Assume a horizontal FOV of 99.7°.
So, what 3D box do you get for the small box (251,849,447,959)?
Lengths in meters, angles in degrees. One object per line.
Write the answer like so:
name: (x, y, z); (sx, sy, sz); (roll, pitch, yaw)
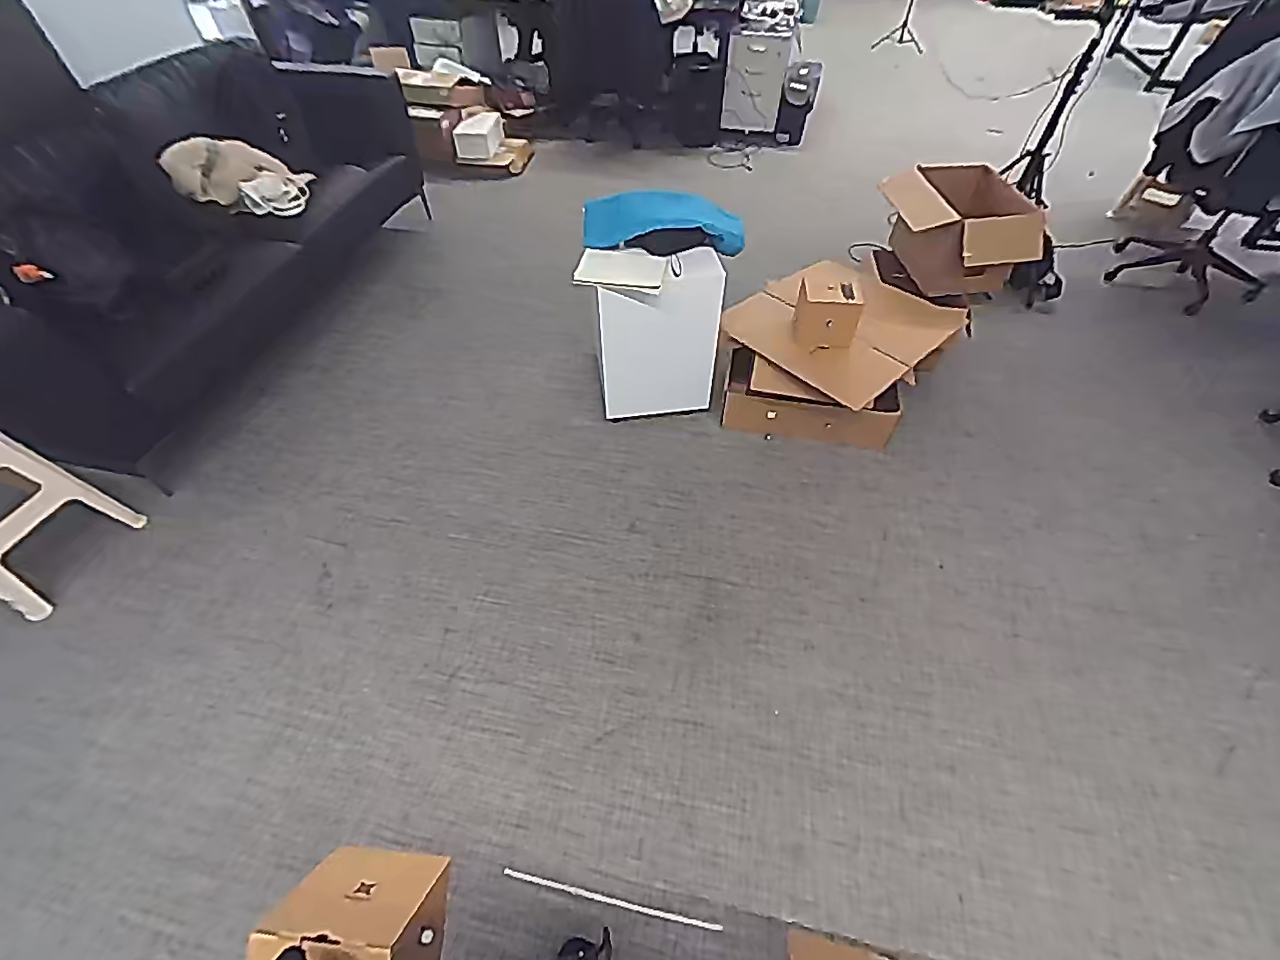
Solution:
small box: (-0.363, 0.606, 0.674); (0.168, 0.179, 0.176); (4, 84, 2)
